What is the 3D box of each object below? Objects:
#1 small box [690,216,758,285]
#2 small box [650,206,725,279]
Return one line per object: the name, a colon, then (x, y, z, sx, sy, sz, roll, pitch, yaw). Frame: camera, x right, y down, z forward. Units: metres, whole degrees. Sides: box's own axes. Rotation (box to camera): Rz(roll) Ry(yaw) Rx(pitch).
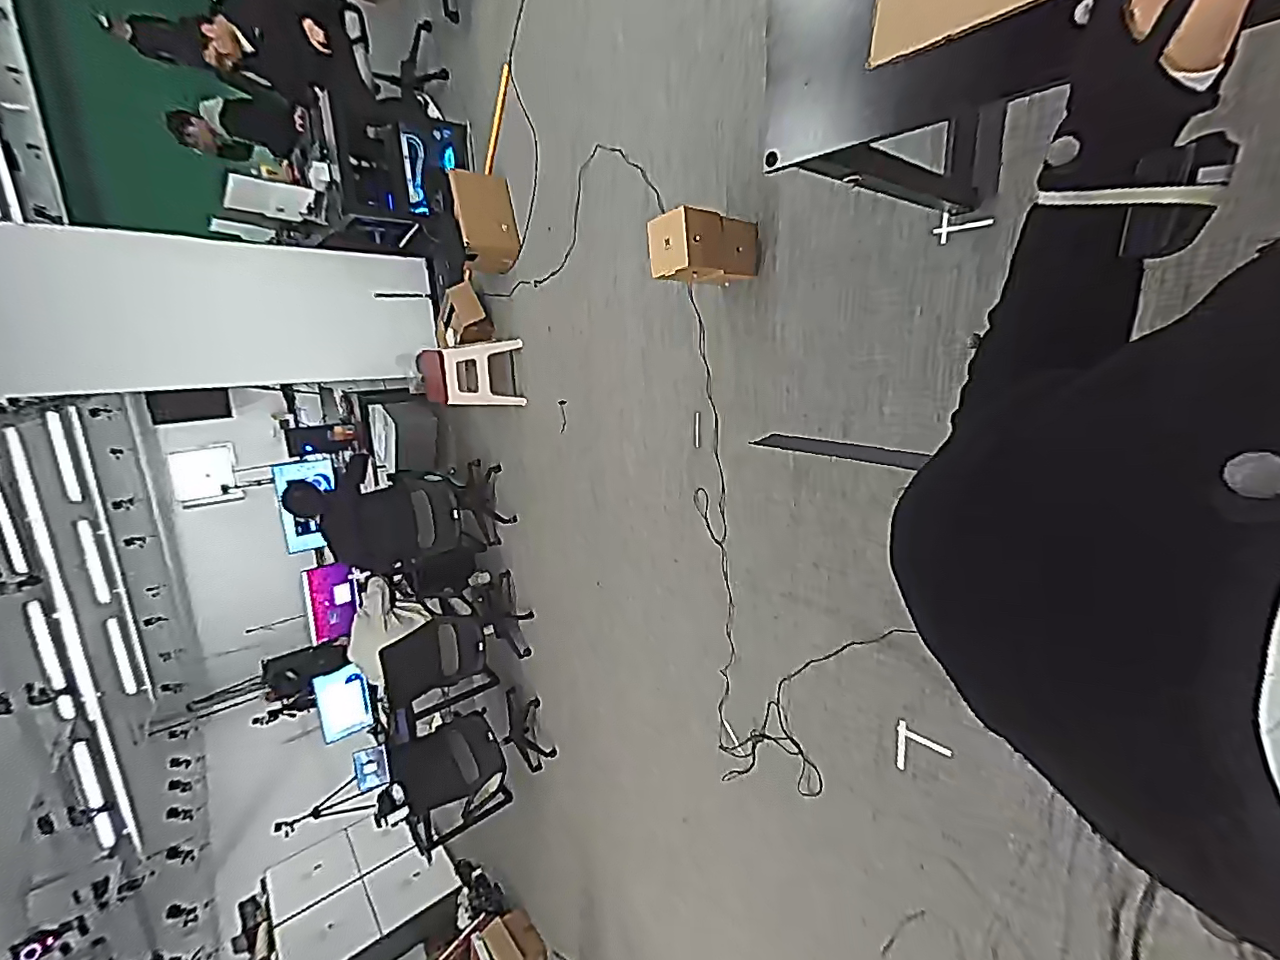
small box: (0.279, -0.758, 1.802, 0.168, 0.176, 0.179, 9, 108, 50)
small box: (0.153, -0.737, 1.700, 0.168, 0.176, 0.179, 5, 103, 50)
